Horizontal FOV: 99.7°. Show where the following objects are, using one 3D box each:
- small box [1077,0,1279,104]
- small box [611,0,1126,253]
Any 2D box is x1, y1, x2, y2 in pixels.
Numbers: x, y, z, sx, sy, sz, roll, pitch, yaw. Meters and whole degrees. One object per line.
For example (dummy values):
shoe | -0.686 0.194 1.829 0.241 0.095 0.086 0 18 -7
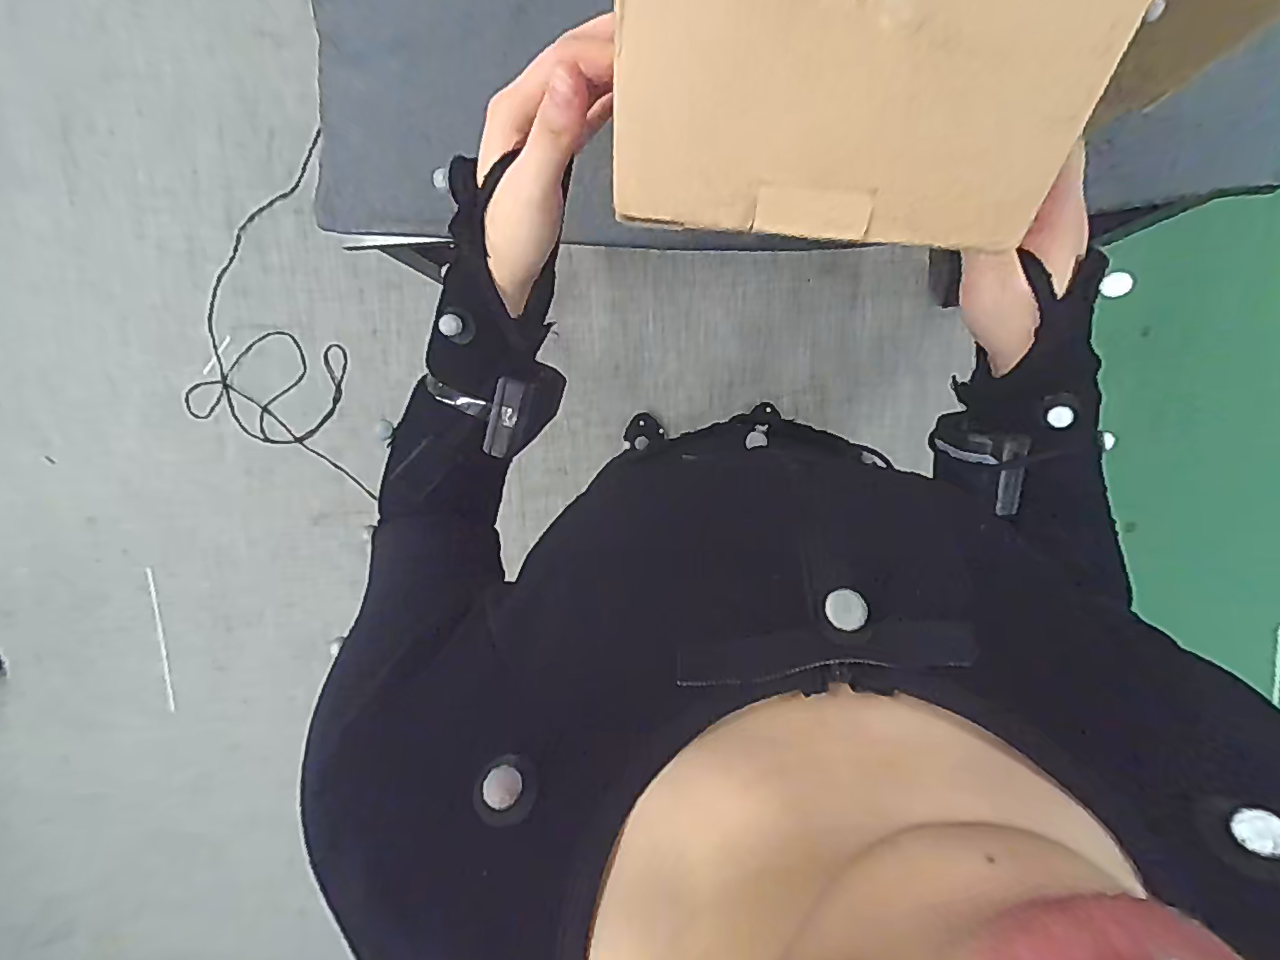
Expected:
small box | 0.402 -0.437 0.430 0.179 0.176 0.168 11 96 5
small box | 0.081 -0.217 0.221 0.168 0.179 0.176 8 138 6
